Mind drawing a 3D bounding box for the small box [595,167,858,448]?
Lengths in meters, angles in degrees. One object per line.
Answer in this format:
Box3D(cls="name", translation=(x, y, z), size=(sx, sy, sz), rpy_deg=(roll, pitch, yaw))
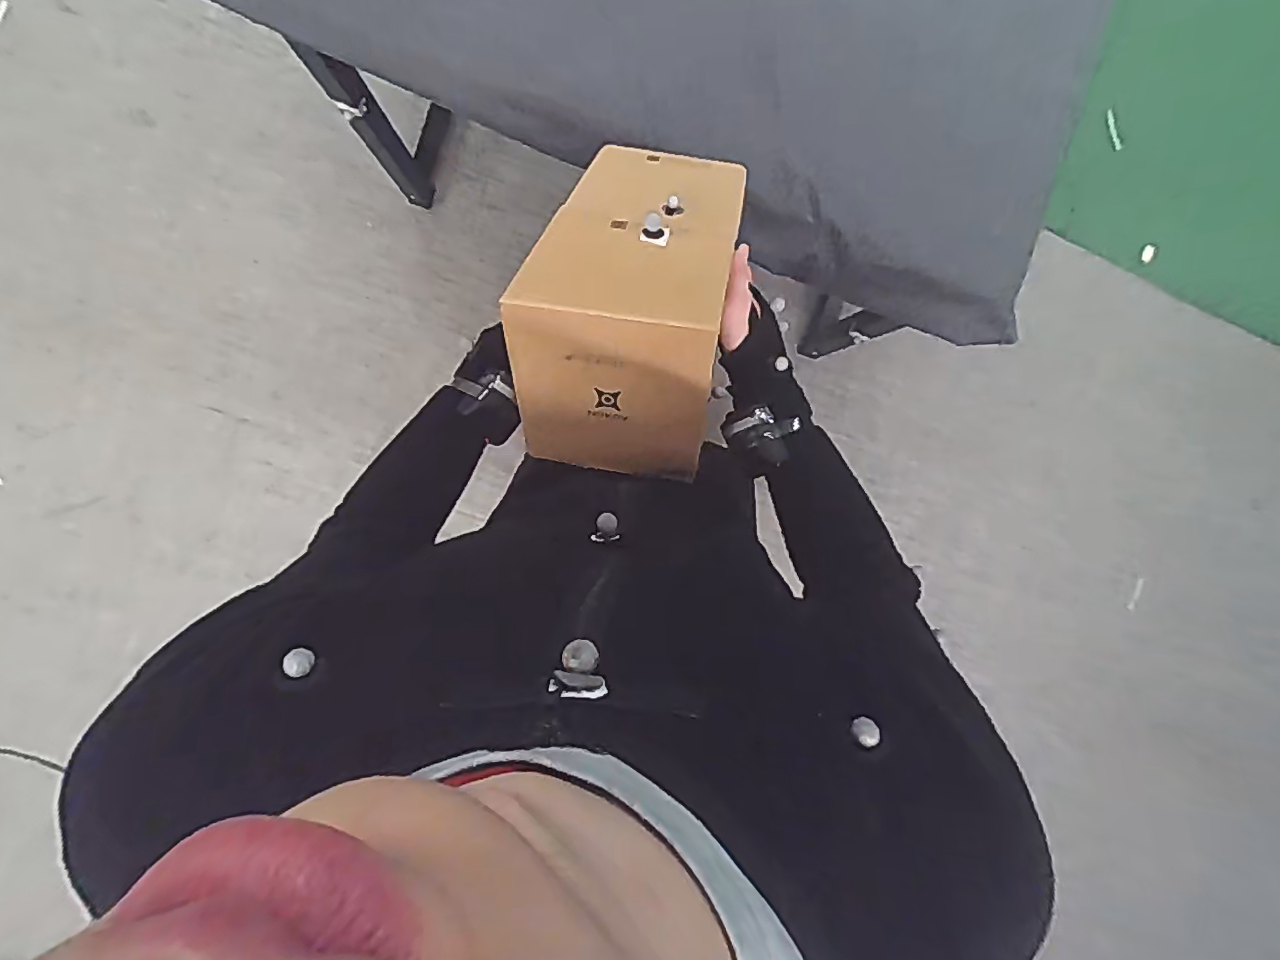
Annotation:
Box3D(cls="small box", translation=(0.074, -0.166, 0.529), size=(0.179, 0.168, 0.176), rpy_deg=(21, 122, -23))
